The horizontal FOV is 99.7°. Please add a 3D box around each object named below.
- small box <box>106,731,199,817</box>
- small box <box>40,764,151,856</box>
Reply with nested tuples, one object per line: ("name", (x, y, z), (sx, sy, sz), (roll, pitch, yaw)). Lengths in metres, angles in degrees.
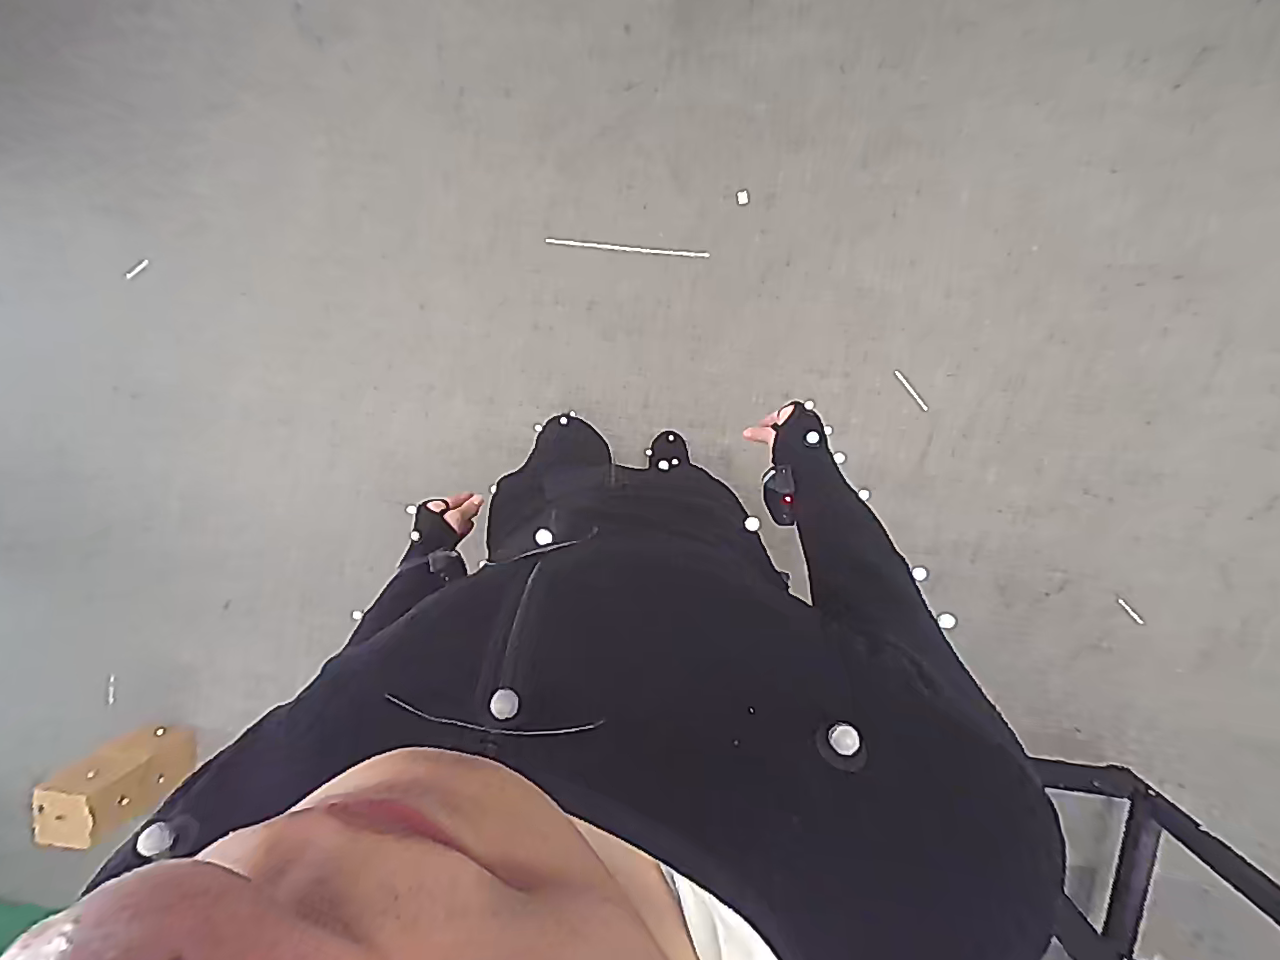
("small box", (-1.596, 0.959, 1.774), (0.168, 0.176, 0.179), (7, 94, 5))
("small box", (-1.613, 0.976, 1.612), (0.179, 0.176, 0.168), (4, 95, 4))
